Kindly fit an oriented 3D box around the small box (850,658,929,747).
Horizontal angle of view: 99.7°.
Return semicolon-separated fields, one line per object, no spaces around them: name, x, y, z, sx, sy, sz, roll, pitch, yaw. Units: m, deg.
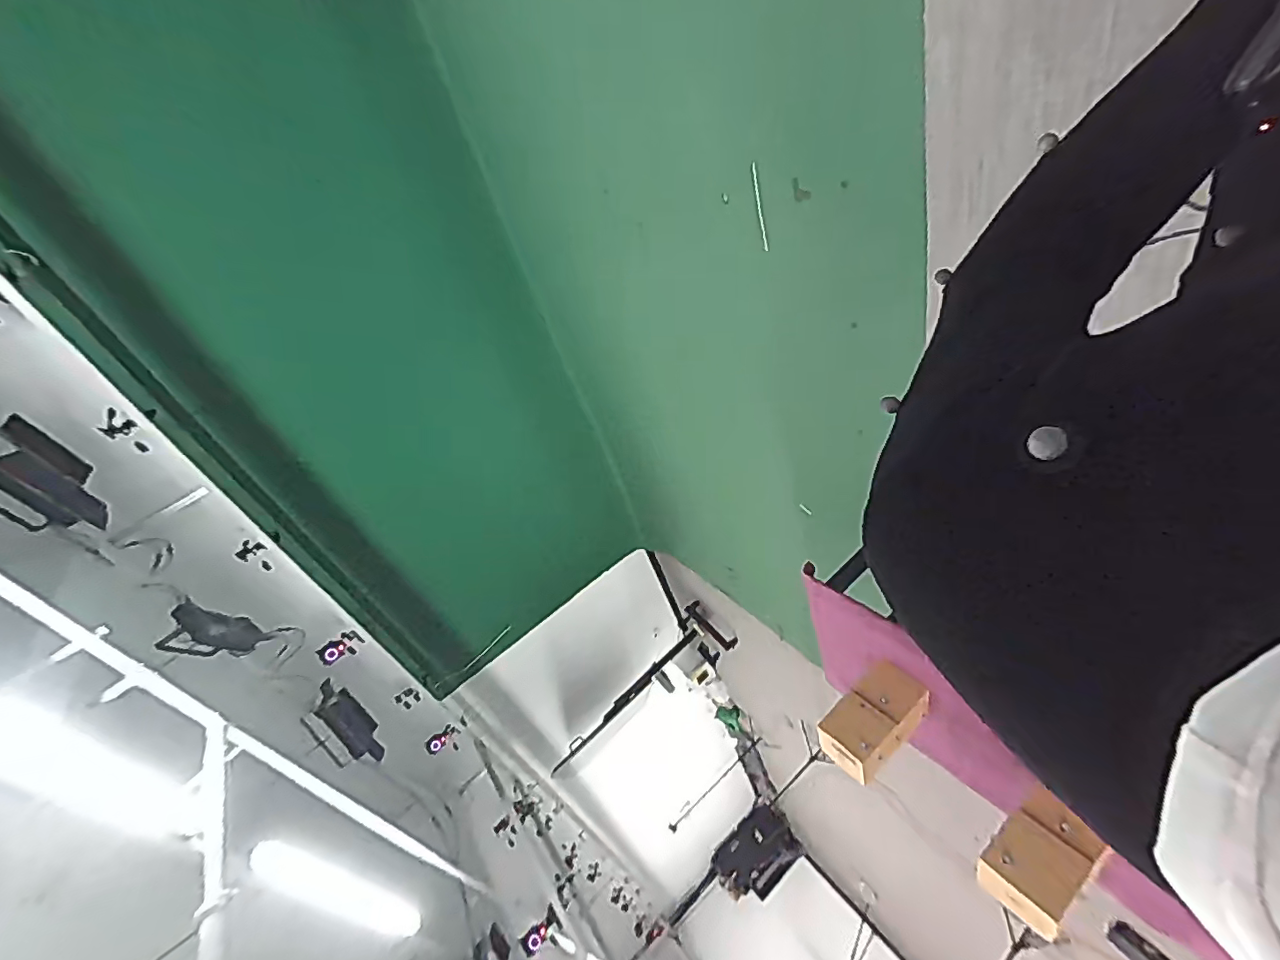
small box;0.818;0.721;1.769;0.179;0.176;0.168;32;152;47

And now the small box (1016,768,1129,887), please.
small box;1.102;0.878;1.390;0.179;0.176;0.168;28;148;50

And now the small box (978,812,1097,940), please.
small box;0.970;0.959;1.329;0.179;0.176;0.168;30;150;49
